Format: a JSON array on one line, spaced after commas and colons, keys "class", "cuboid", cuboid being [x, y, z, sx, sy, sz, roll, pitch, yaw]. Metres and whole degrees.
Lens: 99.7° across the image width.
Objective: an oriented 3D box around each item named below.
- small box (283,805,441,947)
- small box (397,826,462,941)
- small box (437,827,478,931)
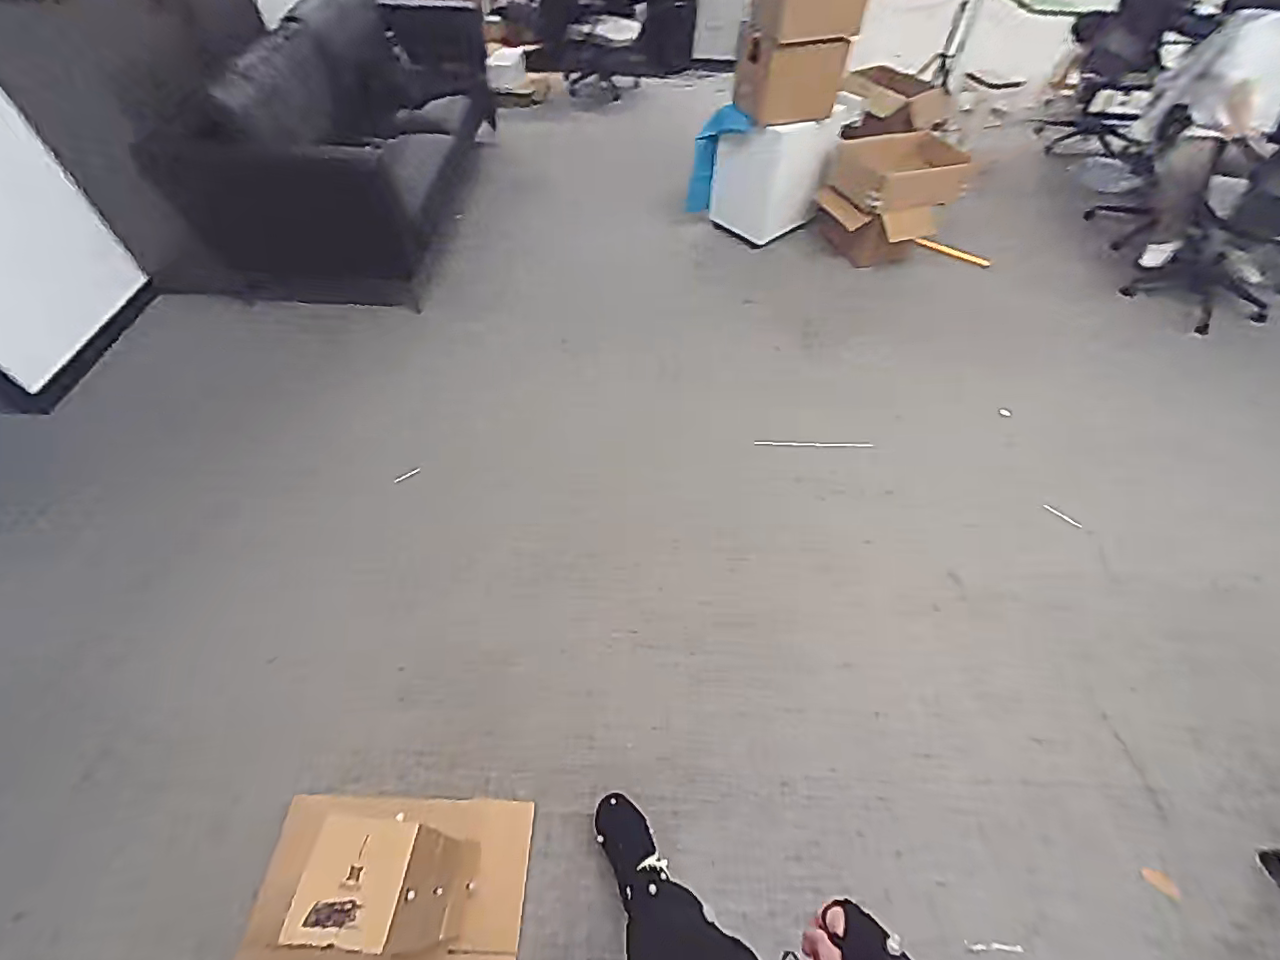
[{"class": "small box", "cuboid": [-0.468, 0.687, 0.946, 0.168, 0.176, 0.179, 6, 53, 1]}, {"class": "small box", "cuboid": [-0.471, 0.787, 1.076, 0.168, 0.176, 0.179, 6, 53, 2]}, {"class": "small box", "cuboid": [-0.472, 0.884, 1.207, 0.168, 0.176, 0.179, 4, 53, 1]}]
